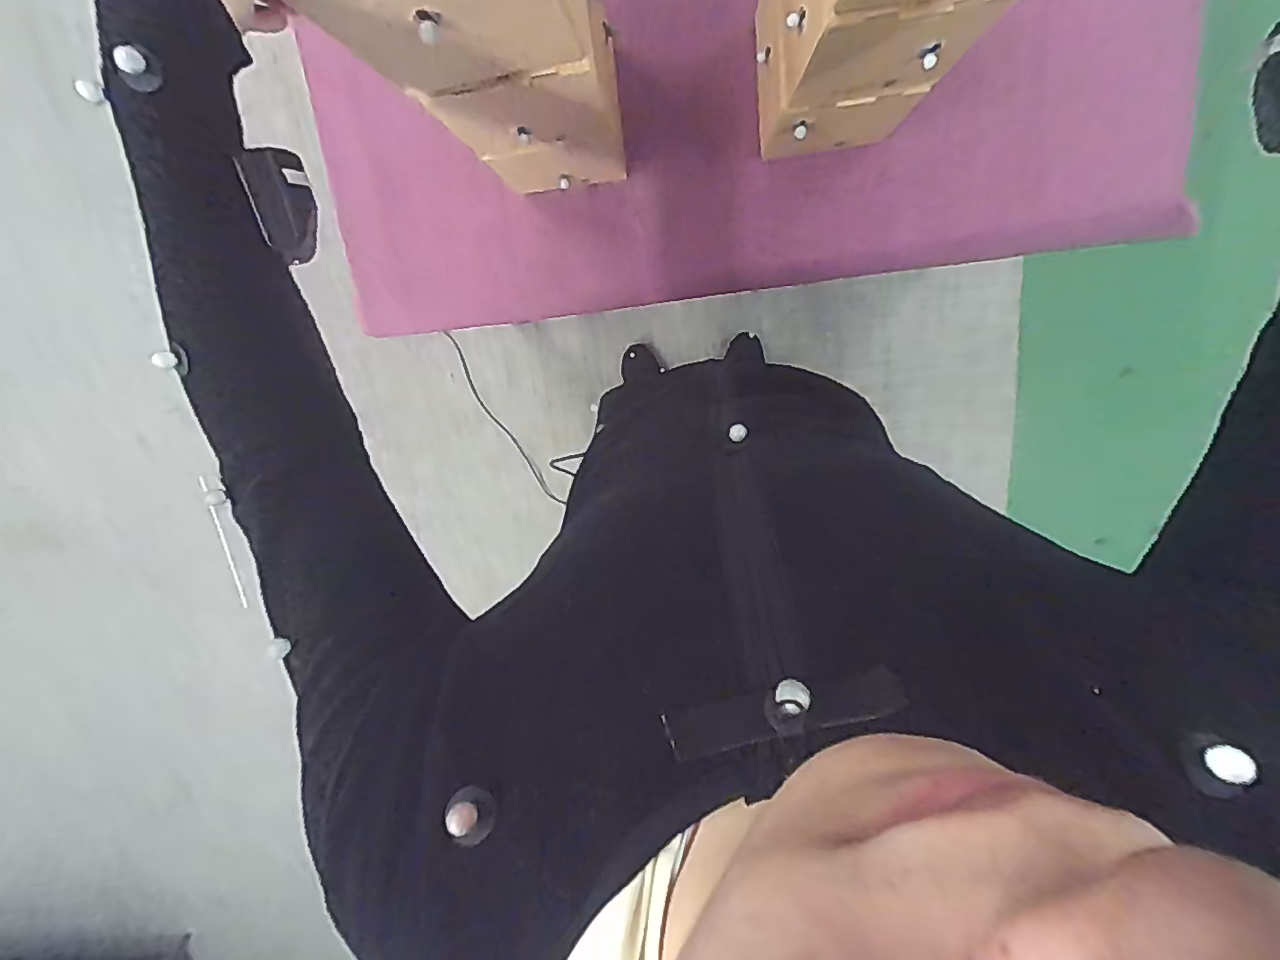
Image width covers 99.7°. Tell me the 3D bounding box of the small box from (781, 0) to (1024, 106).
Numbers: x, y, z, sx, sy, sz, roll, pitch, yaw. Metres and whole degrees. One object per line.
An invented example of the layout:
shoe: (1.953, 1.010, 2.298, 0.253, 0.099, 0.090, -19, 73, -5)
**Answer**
small box: (0.230, -0.480, 0.504, 0.168, 0.176, 0.179, -6, 103, 4)

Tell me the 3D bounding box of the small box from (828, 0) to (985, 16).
small box: (0.231, -0.443, 0.342, 0.179, 0.176, 0.168, -5, 103, 3)

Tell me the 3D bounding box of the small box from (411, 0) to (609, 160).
small box: (-0.129, -0.450, 0.537, 0.168, 0.176, 0.179, -6, 105, 5)

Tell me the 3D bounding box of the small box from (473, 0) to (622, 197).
small box: (-0.118, -0.487, 0.694, 0.168, 0.176, 0.179, -5, 104, 5)

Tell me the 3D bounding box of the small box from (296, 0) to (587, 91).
small box: (-0.149, -0.407, 0.376, 0.179, 0.176, 0.168, -6, 105, 9)
